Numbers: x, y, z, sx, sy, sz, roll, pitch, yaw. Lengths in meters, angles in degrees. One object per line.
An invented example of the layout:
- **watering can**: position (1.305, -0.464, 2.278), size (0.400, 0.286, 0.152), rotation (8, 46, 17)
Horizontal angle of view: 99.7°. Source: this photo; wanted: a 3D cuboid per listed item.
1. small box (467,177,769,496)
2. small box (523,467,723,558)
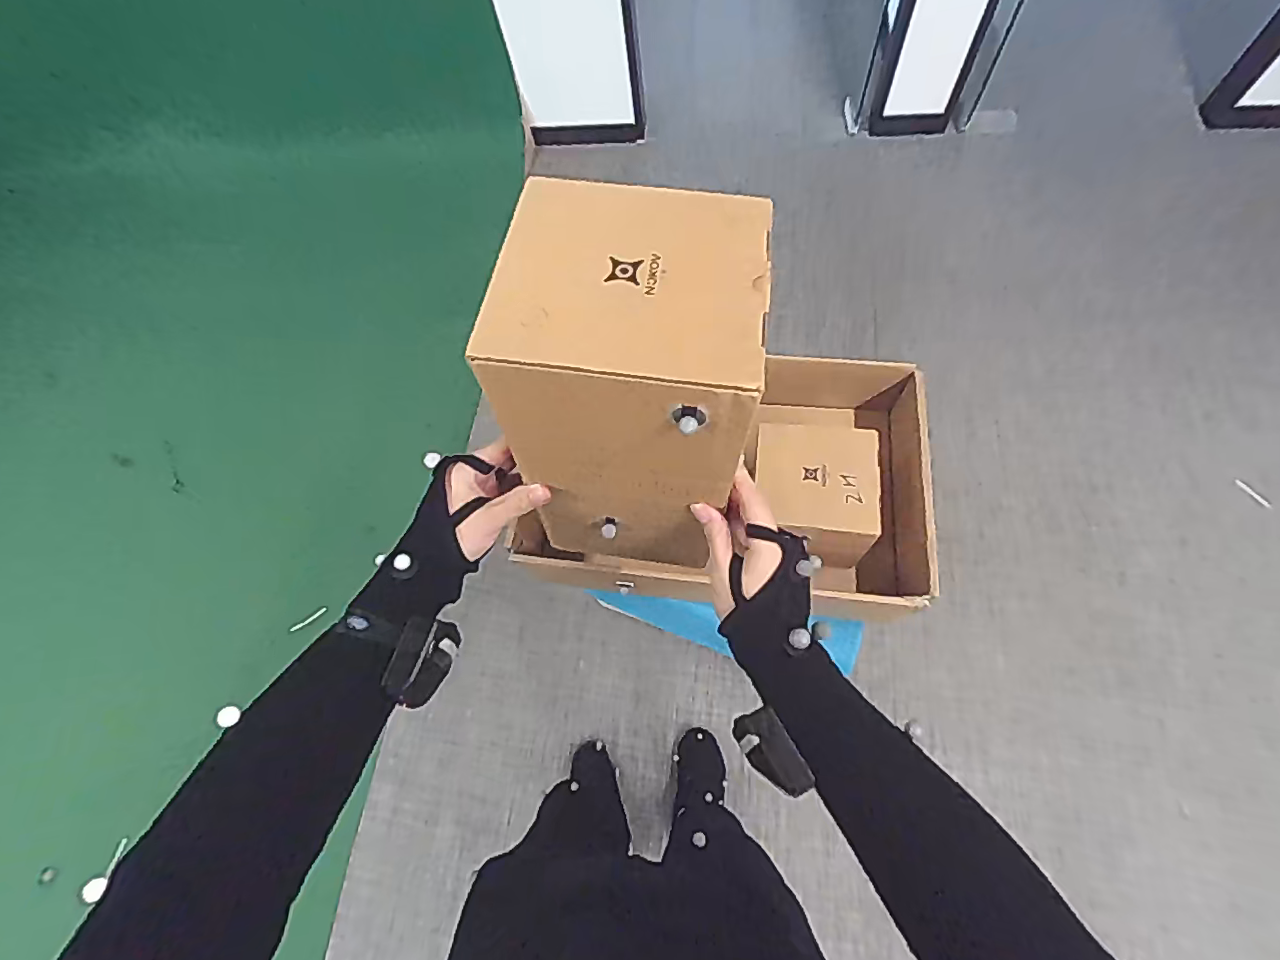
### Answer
- **small box**: position (-0.007, -0.100, 0.420), size (0.179, 0.176, 0.168), rotation (7, 64, 3)
- **small box**: position (-0.002, -0.027, 0.566), size (0.179, 0.176, 0.168), rotation (7, 64, 5)
